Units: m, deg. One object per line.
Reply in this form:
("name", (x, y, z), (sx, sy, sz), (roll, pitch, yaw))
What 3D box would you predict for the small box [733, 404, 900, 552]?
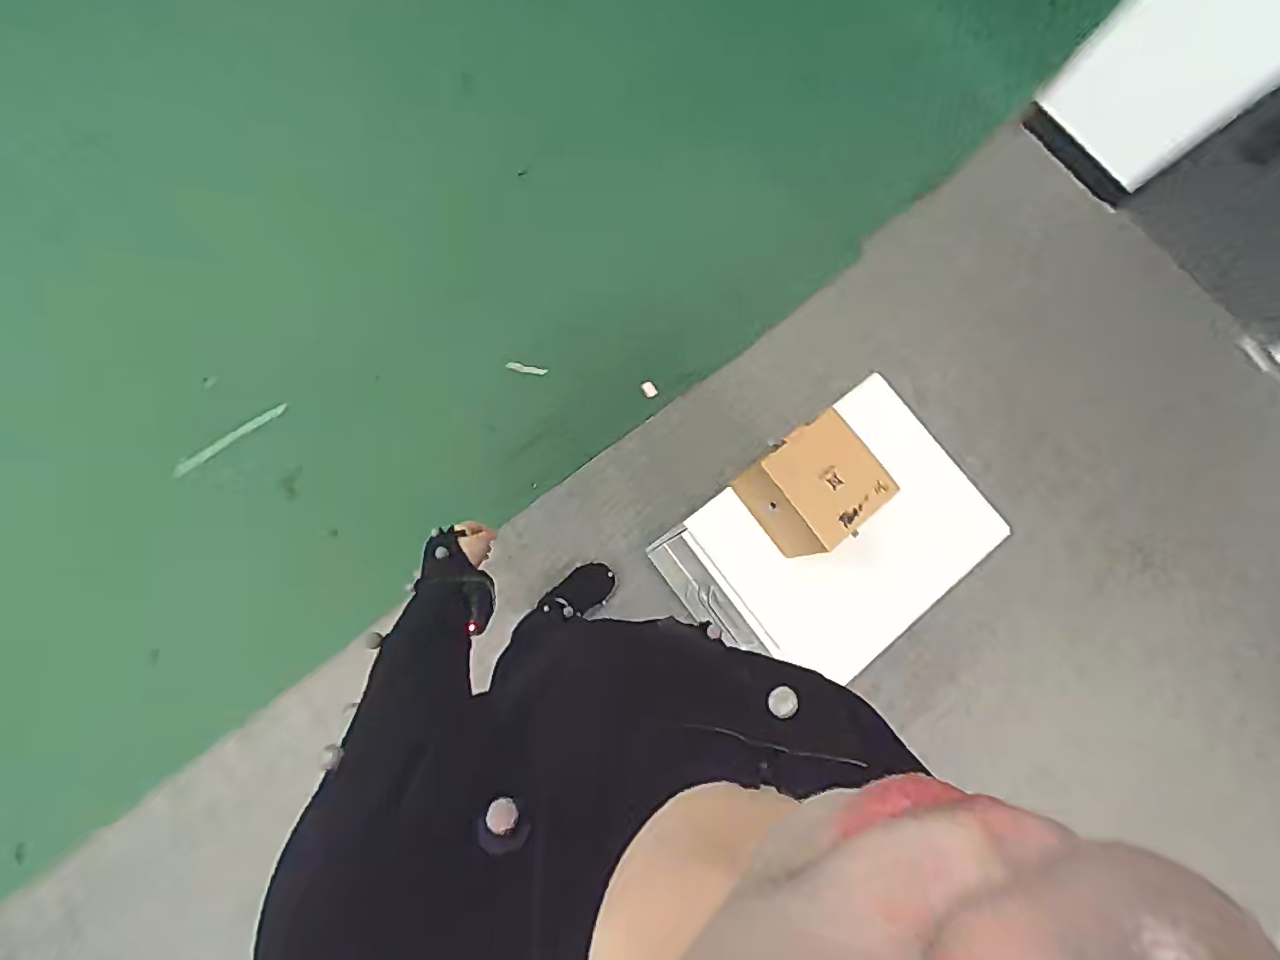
("small box", (0.286, 0.006, 0.918), (0.168, 0.176, 0.179), (-36, 85, -12))
